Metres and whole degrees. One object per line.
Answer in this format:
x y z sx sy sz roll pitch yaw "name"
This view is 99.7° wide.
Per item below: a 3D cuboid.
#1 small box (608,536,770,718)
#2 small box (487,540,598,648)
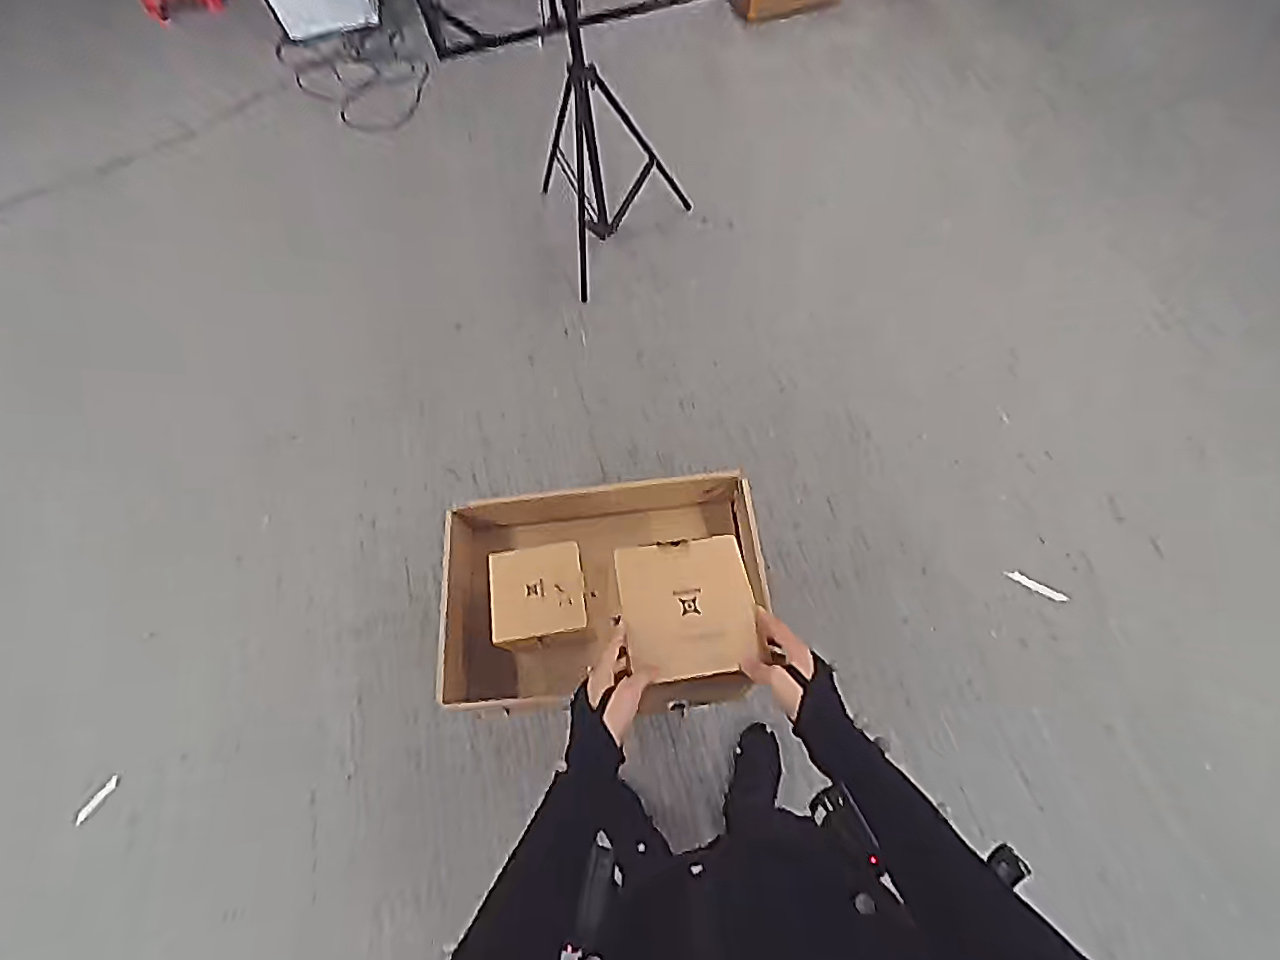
0.050 0.196 0.719 0.168 0.176 0.179 -5 55 -9 "small box"
-0.188 0.231 1.068 0.179 0.176 0.168 -9 67 0 "small box"
